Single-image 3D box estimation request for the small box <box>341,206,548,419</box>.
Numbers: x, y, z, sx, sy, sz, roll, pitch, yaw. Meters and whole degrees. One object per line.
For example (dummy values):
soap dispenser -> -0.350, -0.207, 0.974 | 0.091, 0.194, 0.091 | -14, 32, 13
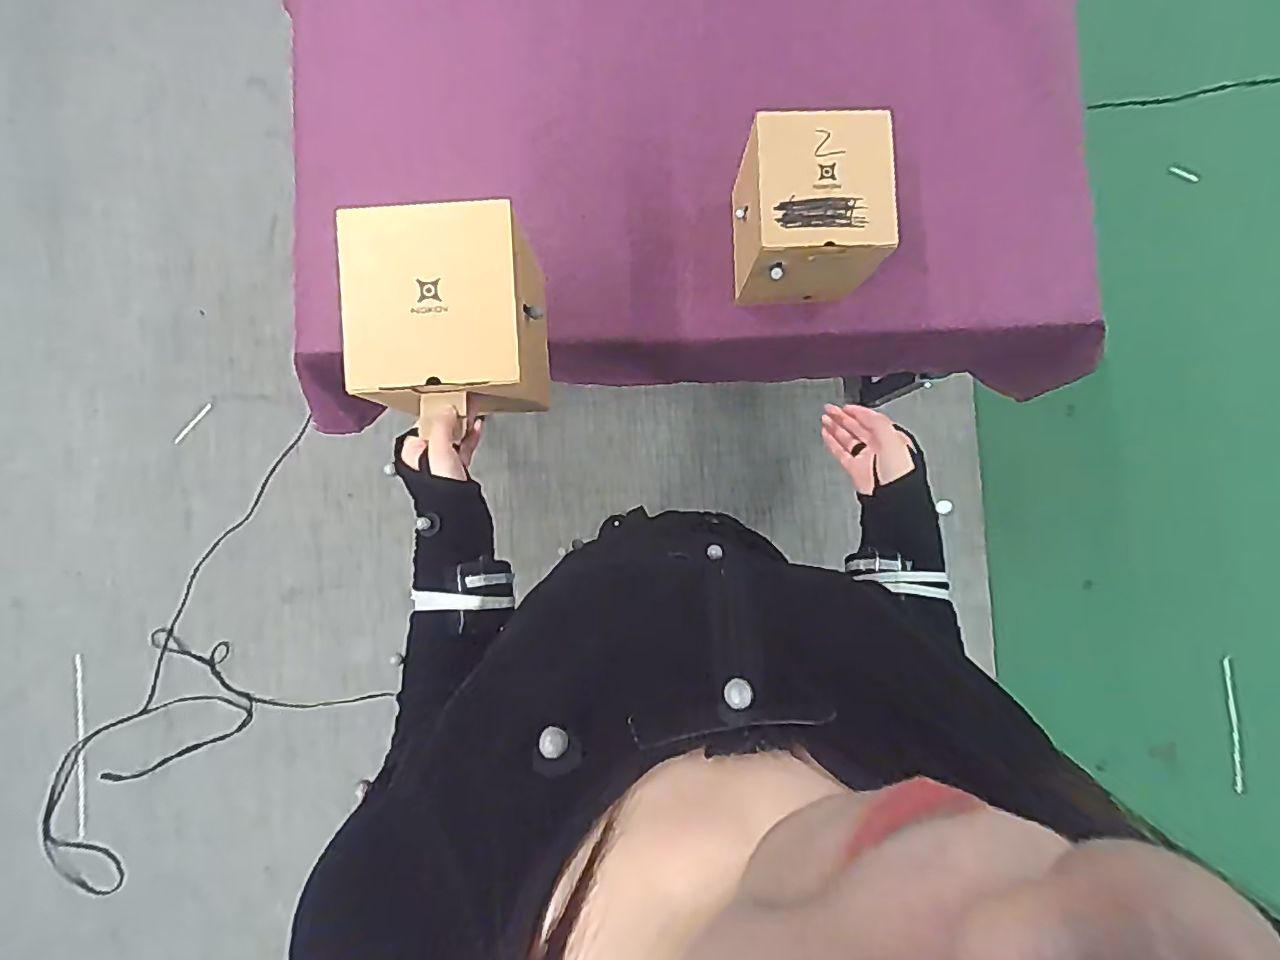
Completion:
small box -> -0.196, -0.167, 0.585 | 0.168, 0.176, 0.179 | -3, 89, -1
